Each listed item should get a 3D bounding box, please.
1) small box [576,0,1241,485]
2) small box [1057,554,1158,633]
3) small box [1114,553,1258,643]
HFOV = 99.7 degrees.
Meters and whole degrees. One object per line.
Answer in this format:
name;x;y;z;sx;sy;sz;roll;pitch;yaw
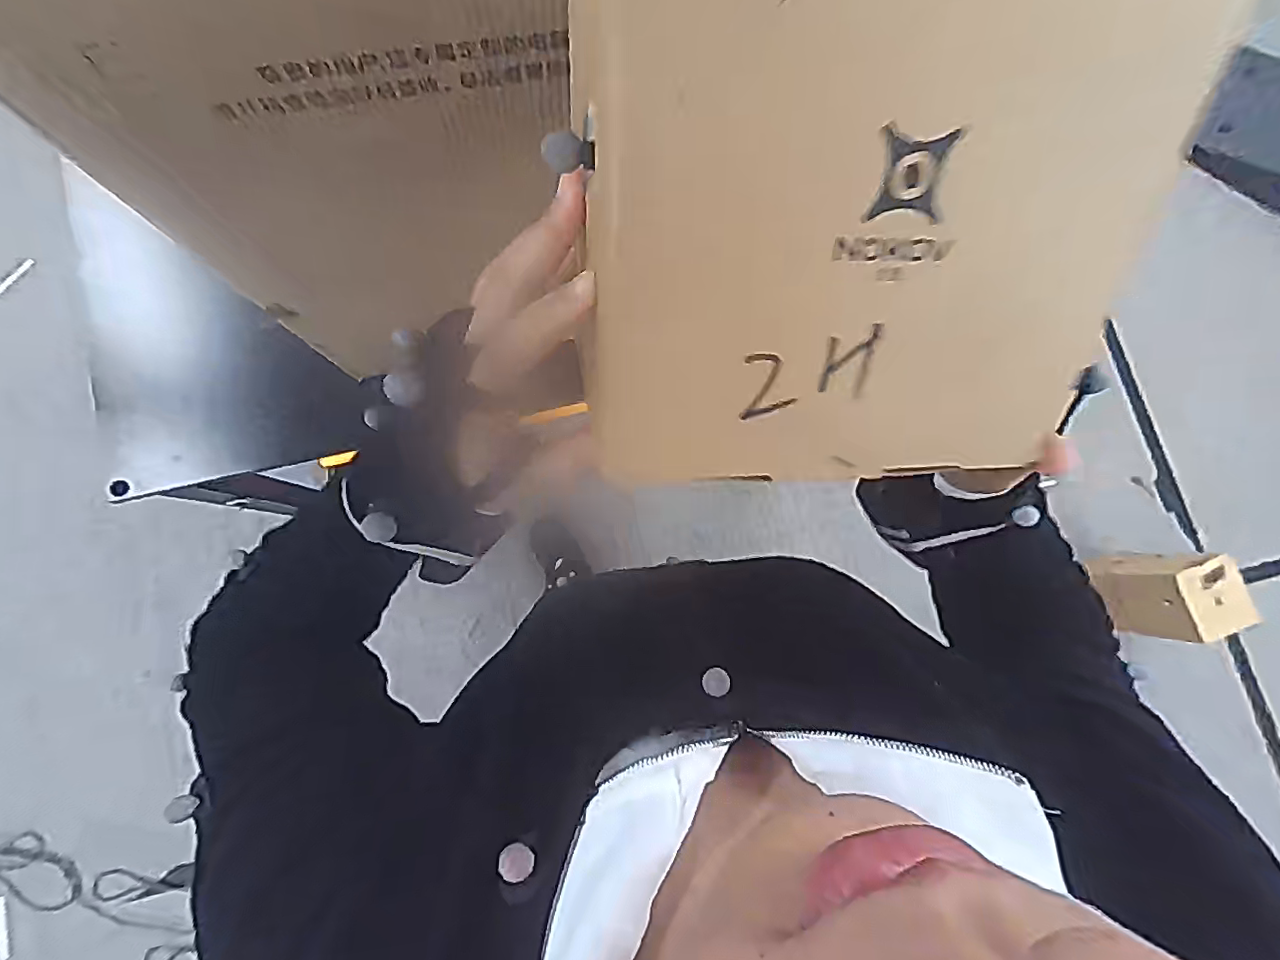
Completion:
small box;0.061;-0.115;0.223;0.168;0.176;0.179;-2;119;-8
small box;1.348;0.314;1.530;0.179;0.176;0.168;-21;83;-7
small box;1.365;0.293;1.367;0.168;0.176;0.179;-18;84;-7
